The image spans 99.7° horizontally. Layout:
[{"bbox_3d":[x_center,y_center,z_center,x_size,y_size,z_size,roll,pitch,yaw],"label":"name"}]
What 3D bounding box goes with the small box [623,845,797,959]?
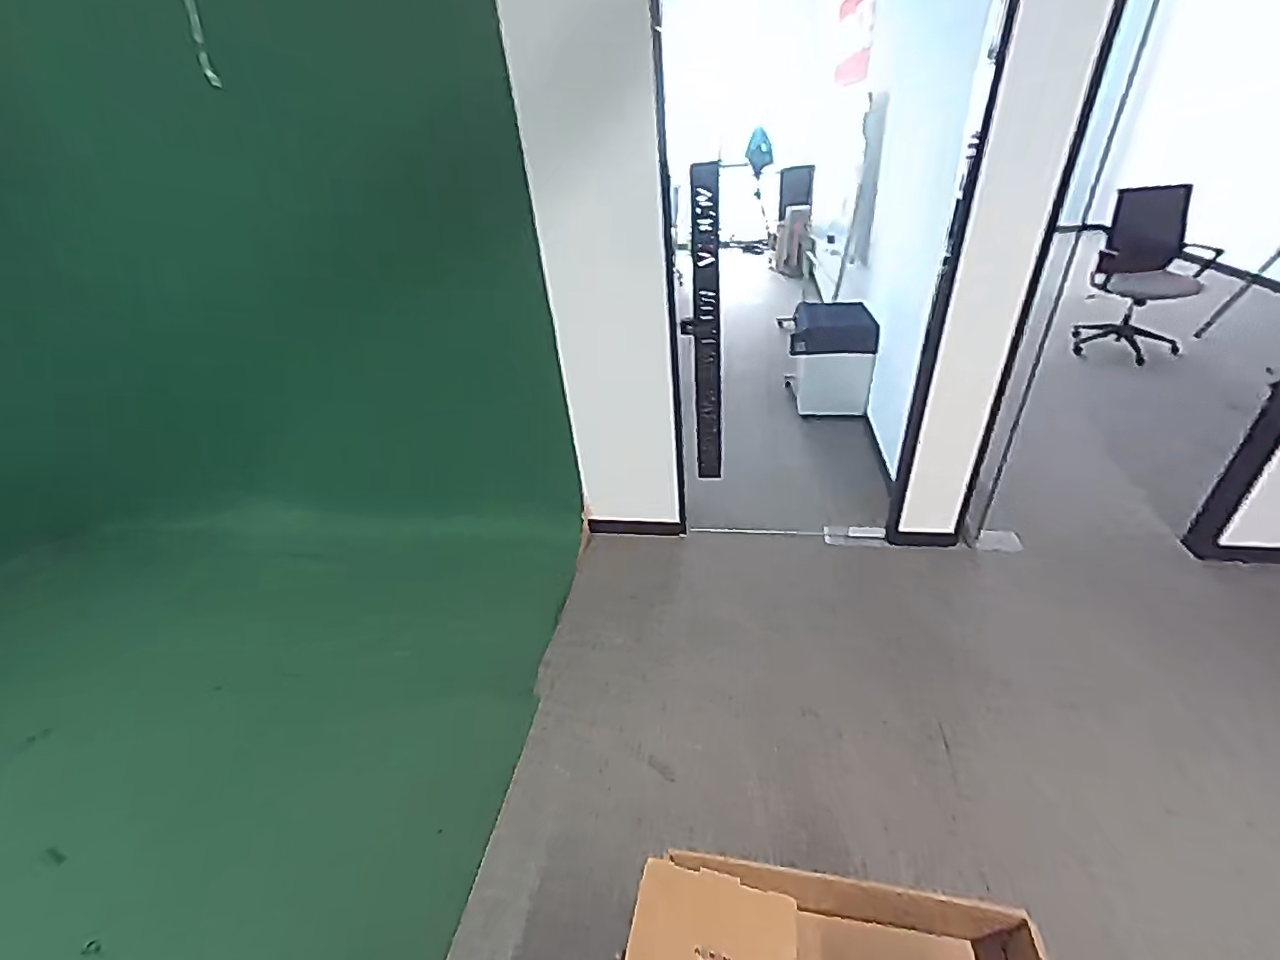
[{"bbox_3d":[0.062,0.531,0.557,0.168,0.176,0.179,9,31,11],"label":"small box"}]
